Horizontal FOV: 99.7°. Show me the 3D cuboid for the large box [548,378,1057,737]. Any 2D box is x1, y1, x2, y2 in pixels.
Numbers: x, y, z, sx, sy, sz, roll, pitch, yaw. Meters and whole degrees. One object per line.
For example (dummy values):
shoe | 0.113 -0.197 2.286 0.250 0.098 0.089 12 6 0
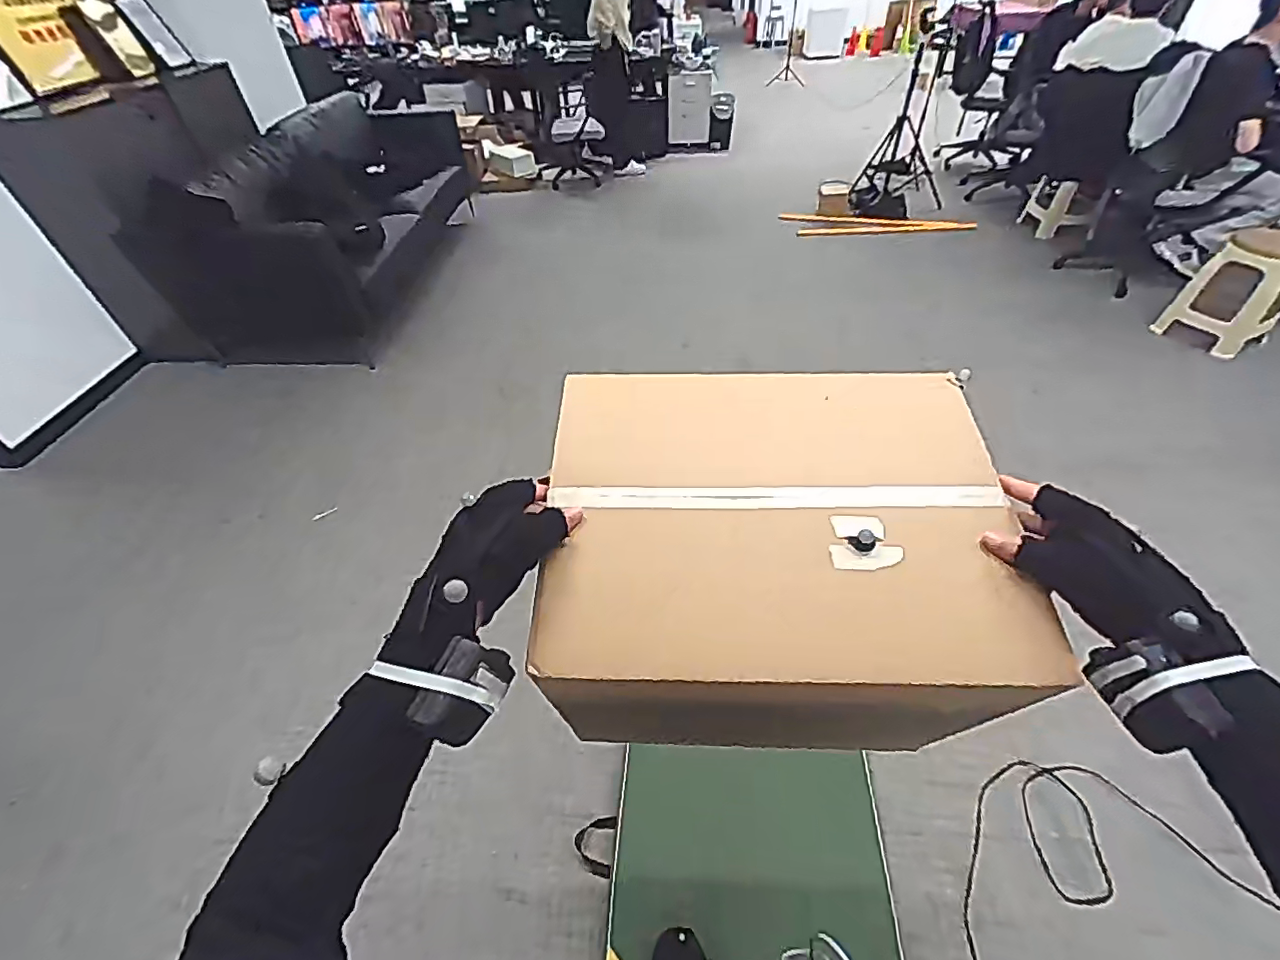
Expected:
large box | 0.126 0.102 0.622 0.408 0.320 0.320 0 57 1
